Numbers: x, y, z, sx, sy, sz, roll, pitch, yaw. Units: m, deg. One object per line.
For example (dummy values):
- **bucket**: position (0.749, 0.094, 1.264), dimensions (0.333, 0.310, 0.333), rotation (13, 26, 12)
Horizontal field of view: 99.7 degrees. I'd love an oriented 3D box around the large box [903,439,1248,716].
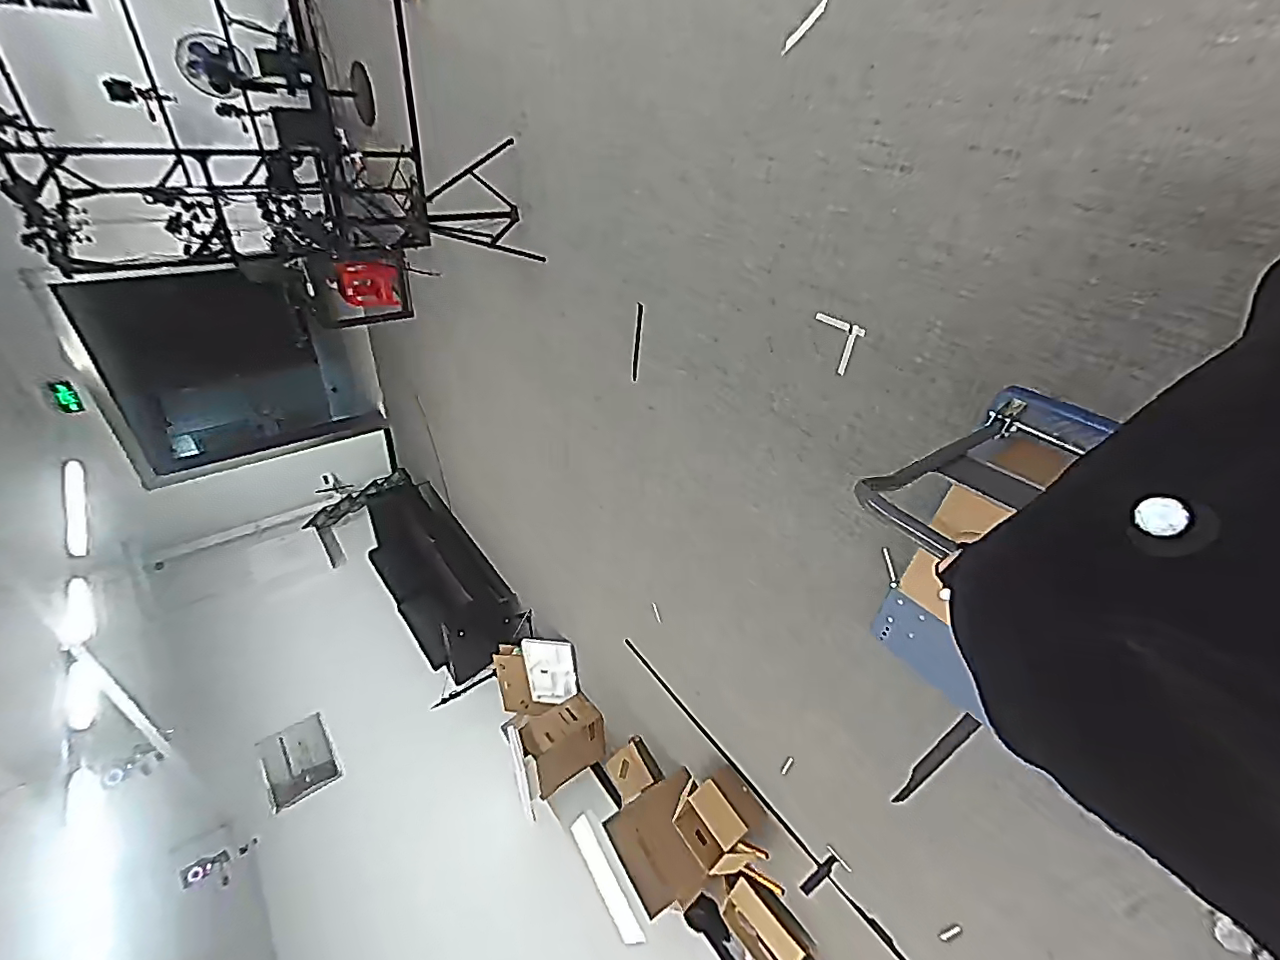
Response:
- **large box**: position (0.846, 0.170, 1.097), dimensions (0.408, 0.320, 0.320), rotation (41, 137, 37)
